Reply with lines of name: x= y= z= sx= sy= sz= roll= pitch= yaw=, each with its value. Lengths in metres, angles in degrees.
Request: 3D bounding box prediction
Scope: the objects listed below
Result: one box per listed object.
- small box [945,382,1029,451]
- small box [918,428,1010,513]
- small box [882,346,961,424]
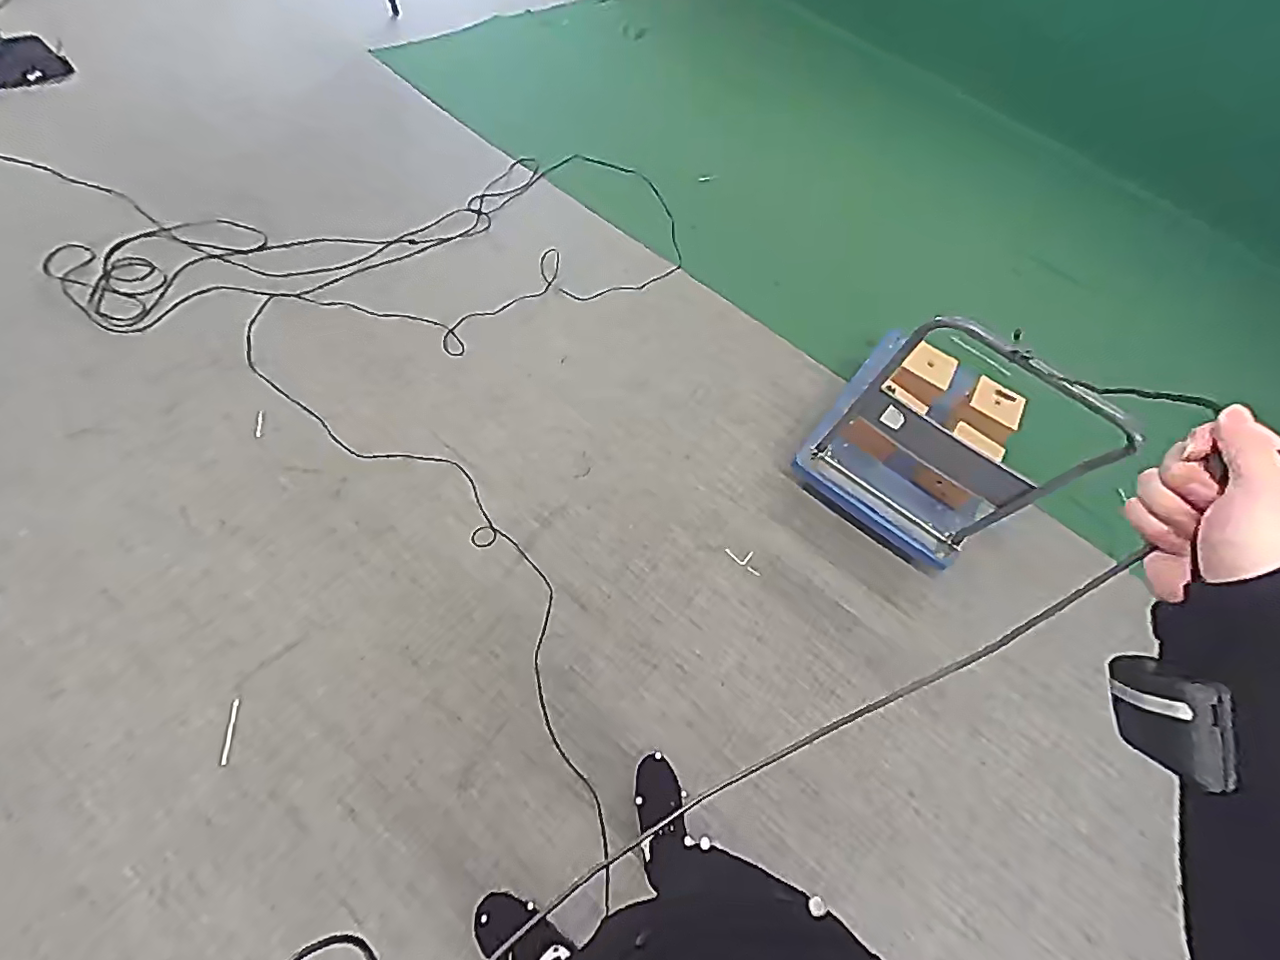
small box: x=1.198 y=-0.197 z=1.873 sx=0.168 sy=0.176 sz=0.179 roll=33 pitch=60 yaw=11
small box: x=1.035 y=-0.028 z=1.740 sx=0.168 sy=0.176 sz=0.179 roll=38 pitch=60 yaw=12
small box: x=0.990 y=-0.333 z=1.916 sx=0.168 sy=0.176 sz=0.179 roll=34 pitch=59 yaw=9
